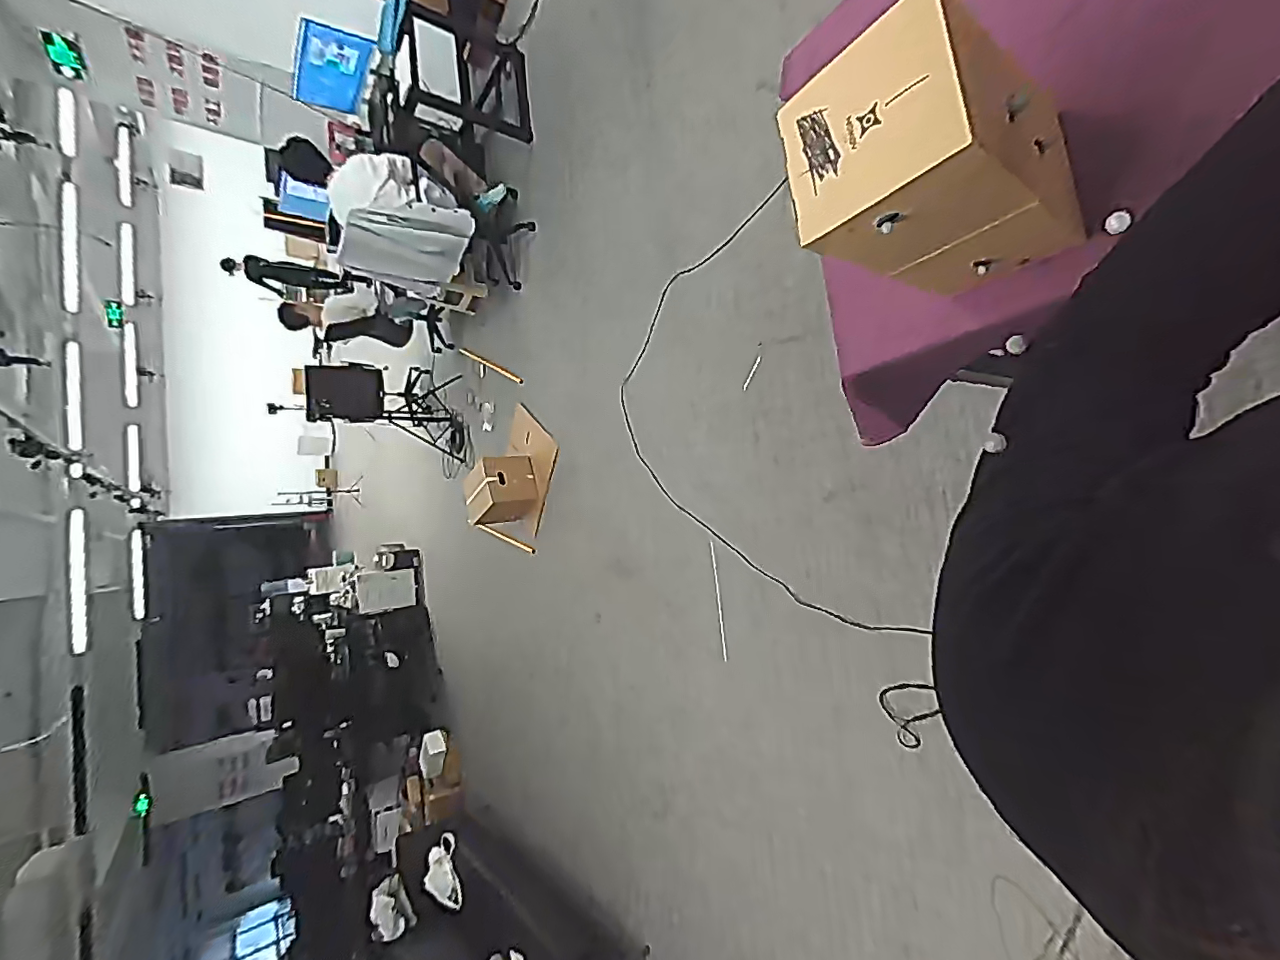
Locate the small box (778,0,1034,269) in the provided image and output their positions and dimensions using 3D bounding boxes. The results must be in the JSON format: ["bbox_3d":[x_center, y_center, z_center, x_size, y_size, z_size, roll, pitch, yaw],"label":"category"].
[{"bbox_3d":[0.279,-0.351,0.578,0.179,0.176,0.168,-16,79,51],"label":"small box"}]

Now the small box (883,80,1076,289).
[{"bbox_3d":[0.410,-0.357,0.677,0.168,0.176,0.179,-16,79,51],"label":"small box"}]
